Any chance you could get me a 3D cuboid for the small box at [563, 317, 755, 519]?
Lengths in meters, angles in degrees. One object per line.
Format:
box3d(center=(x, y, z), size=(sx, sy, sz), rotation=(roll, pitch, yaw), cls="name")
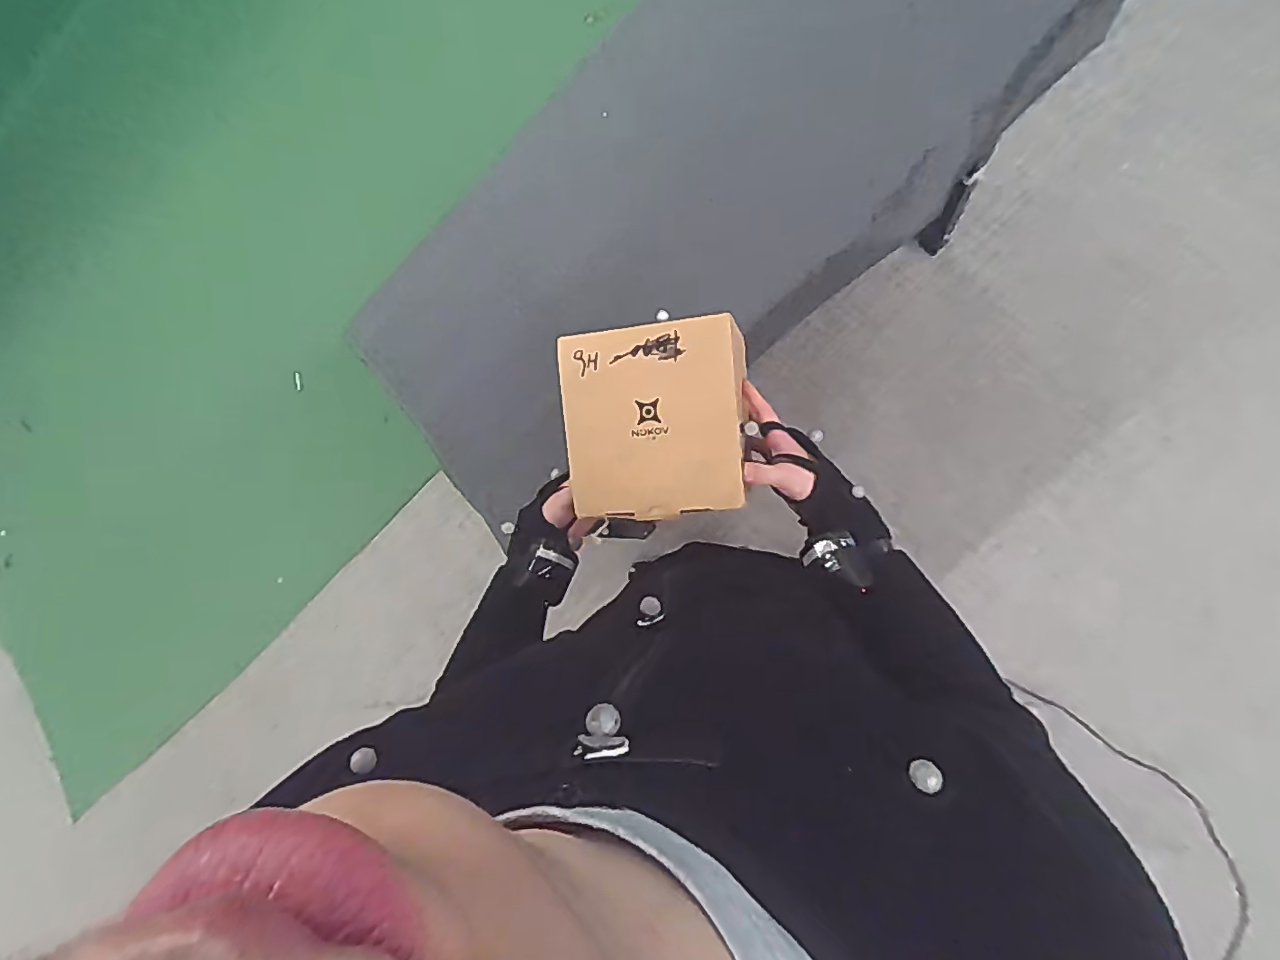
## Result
box3d(center=(0.032, -0.063, 0.572), size=(0.168, 0.176, 0.179), rotation=(-4, 96, 13), cls="small box")
